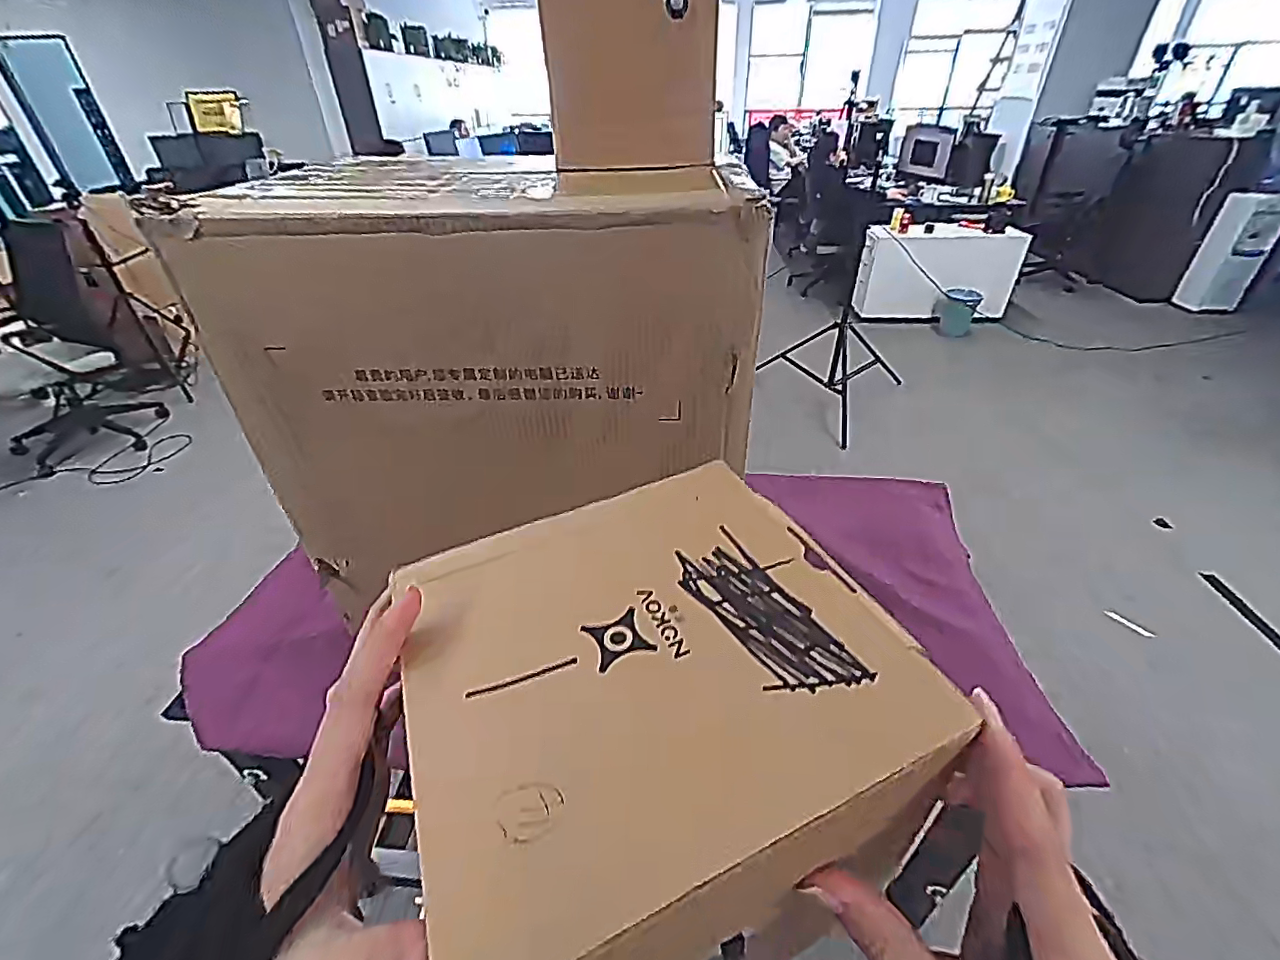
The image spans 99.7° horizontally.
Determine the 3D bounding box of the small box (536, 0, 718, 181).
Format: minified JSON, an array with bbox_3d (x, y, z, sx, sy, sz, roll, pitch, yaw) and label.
[{"bbox_3d":[-0.006,-0.438,0.605,0.179,0.176,0.168,0,35,3],"label":"small box"}]
